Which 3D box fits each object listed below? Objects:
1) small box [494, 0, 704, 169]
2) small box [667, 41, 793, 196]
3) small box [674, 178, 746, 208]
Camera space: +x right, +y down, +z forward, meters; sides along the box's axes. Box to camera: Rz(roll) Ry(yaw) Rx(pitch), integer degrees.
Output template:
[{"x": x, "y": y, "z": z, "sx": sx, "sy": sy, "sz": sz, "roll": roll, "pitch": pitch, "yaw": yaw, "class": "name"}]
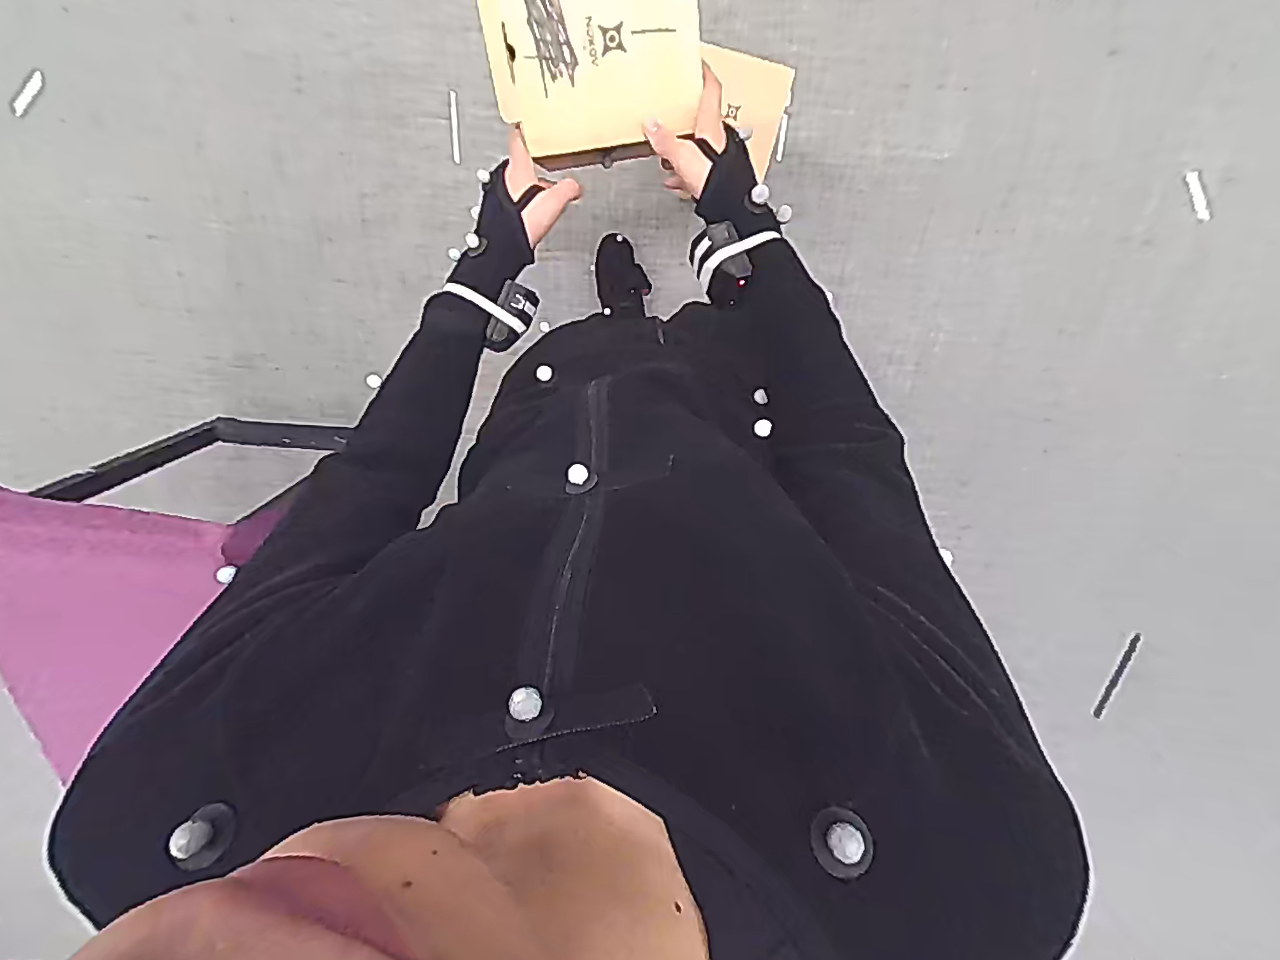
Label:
[{"x": -0.038, "y": -0.426, "z": 0.551, "sx": 0.179, "sy": 0.176, "sz": 0.168, "roll": -9, "pitch": 117, "yaw": 1, "class": "small box"}, {"x": 0.146, "y": -0.622, "z": 0.956, "sx": 0.168, "sy": 0.176, "sz": 0.179, "roll": 14, "pitch": 114, "yaw": -3, "class": "small box"}, {"x": 0.175, "y": -0.744, "z": 1.261, "sx": 0.168, "sy": 0.176, "sz": 0.179, "roll": 8, "pitch": 114, "yaw": -1, "class": "small box"}]
